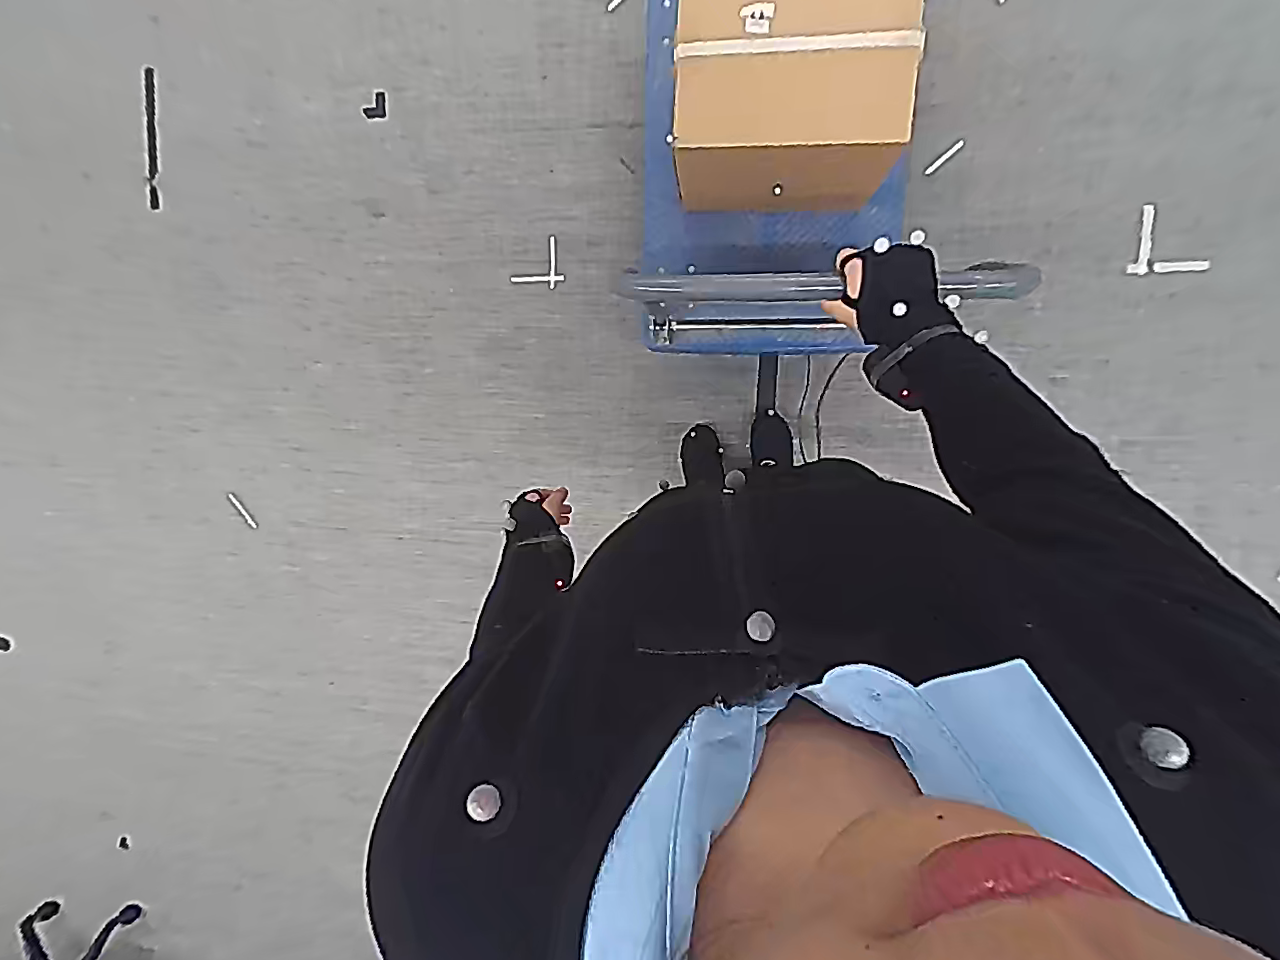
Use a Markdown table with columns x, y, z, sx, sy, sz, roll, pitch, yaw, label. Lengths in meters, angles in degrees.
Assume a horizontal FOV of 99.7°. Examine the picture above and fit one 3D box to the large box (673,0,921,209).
| x | y | z | sx | sy | sz | roll | pitch | yaw | label |
| --- | --- | --- | --- | --- | --- | --- | --- | --- | --- |
| 0.283 | -0.748 | 1.055 | 0.408 | 0.320 | 0.320 | 3 | 96 | 9 | large box |
